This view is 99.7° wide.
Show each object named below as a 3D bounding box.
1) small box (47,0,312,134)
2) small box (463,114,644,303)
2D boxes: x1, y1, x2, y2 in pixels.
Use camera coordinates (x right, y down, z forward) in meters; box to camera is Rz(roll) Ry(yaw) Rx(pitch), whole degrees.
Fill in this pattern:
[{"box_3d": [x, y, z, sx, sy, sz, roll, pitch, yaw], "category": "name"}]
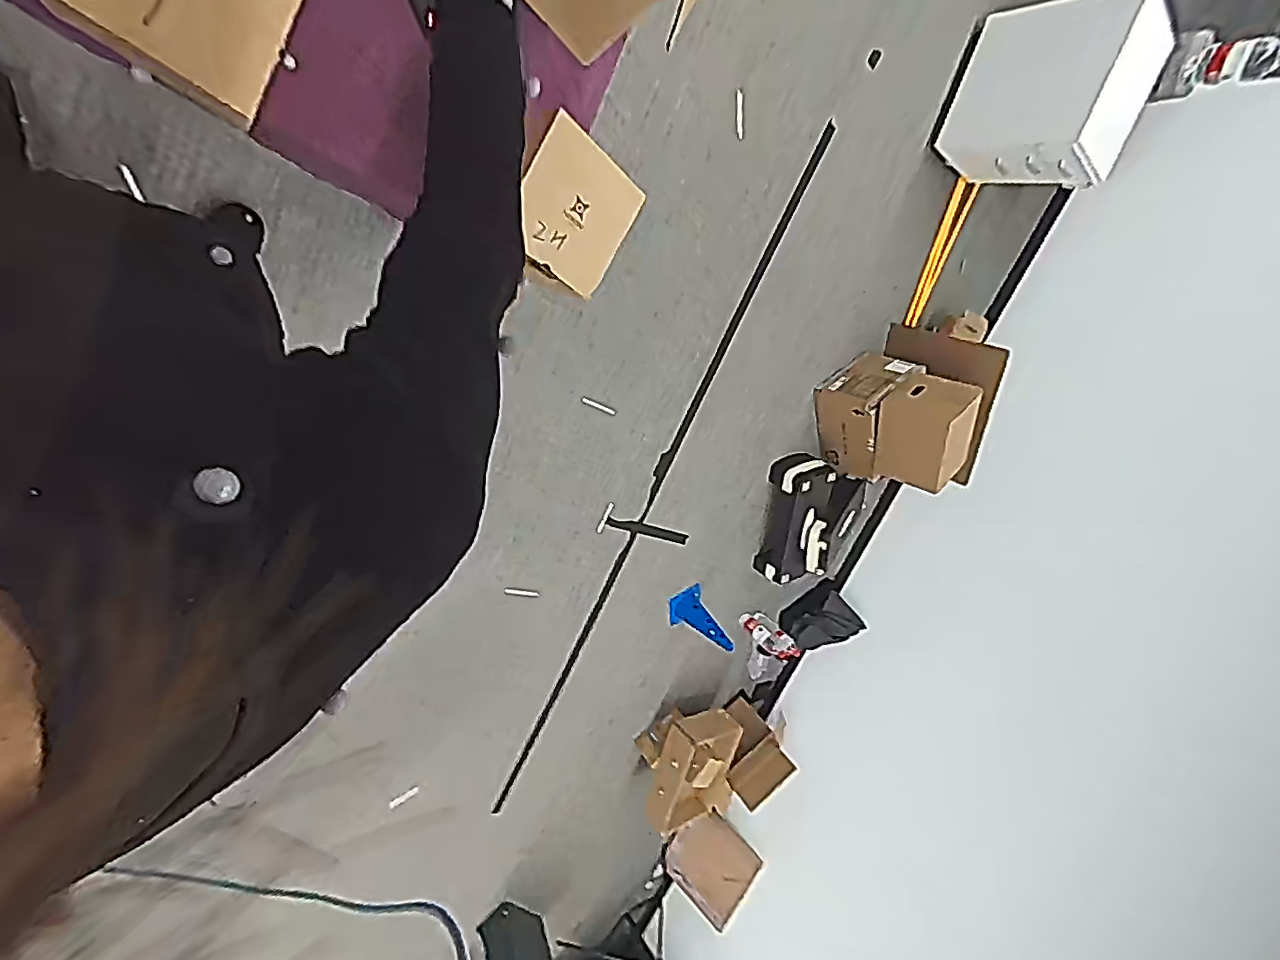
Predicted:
[{"box_3d": [-0.434, -0.471, 0.519, 0.168, 0.176, 0.179, 22, 100, -42], "category": "small box"}, {"box_3d": [-0.134, -0.391, 0.795, 0.168, 0.176, 0.179, 26, 96, -42], "category": "small box"}]
